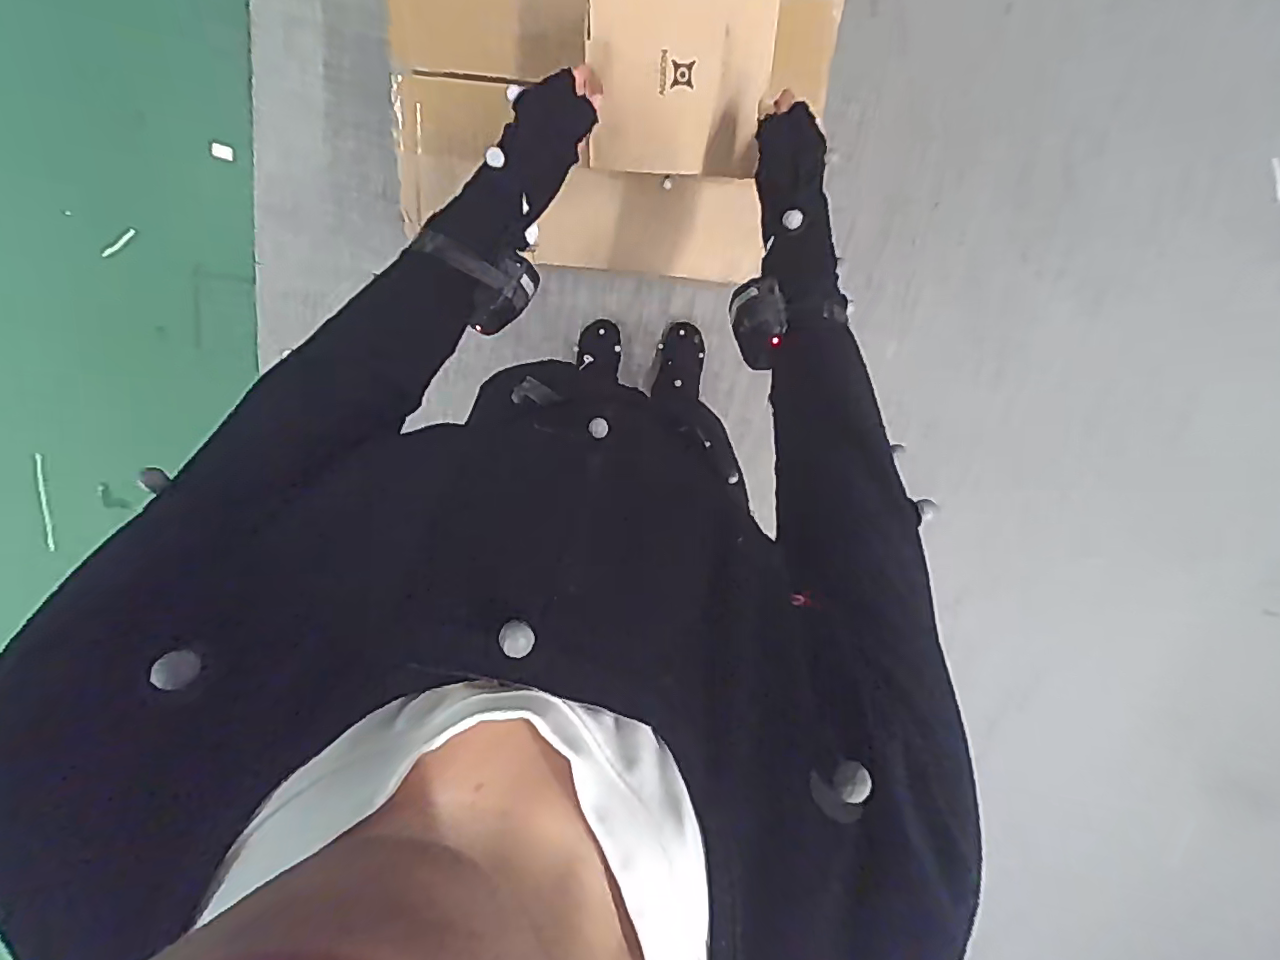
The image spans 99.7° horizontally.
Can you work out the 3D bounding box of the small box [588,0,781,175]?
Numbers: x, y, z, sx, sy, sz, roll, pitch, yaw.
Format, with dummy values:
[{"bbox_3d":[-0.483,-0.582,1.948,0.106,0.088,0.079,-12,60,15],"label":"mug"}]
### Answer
[{"bbox_3d":[0.042,-0.427,0.580,0.179,0.176,0.168,2,119,1],"label":"small box"}]
